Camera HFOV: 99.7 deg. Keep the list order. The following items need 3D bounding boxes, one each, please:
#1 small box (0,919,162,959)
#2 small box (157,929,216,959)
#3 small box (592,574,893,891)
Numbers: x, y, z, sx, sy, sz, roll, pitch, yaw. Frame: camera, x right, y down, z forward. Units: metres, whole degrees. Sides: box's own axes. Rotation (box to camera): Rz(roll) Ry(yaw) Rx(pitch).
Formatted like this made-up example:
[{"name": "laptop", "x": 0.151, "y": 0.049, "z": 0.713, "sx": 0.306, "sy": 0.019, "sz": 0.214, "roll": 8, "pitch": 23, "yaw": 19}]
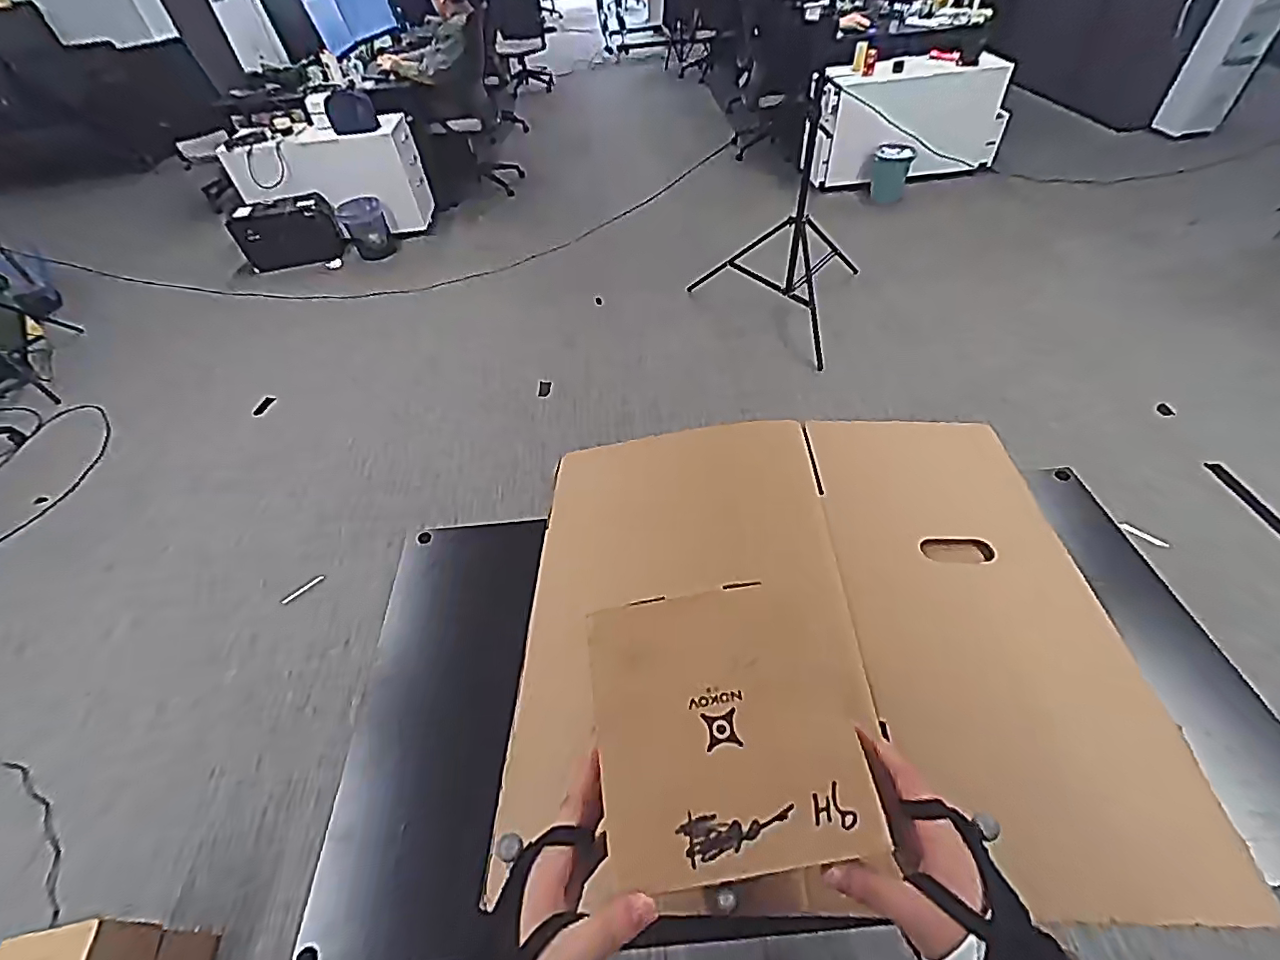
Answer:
[{"name": "small box", "x": -1.015, "y": 0.914, "z": 0.962, "sx": 0.168, "sy": 0.176, "sz": 0.179, "roll": -10, "pitch": 47, "yaw": -5}, {"name": "small box", "x": -1.001, "y": 1.026, "z": 1.078, "sx": 0.168, "sy": 0.176, "sz": 0.179, "roll": -9, "pitch": 49, "yaw": -2}, {"name": "small box", "x": 0.062, "y": 0.198, "z": 0.421, "sx": 0.168, "sy": 0.176, "sz": 0.179, "roll": -10, "pitch": 55, "yaw": 1}]
